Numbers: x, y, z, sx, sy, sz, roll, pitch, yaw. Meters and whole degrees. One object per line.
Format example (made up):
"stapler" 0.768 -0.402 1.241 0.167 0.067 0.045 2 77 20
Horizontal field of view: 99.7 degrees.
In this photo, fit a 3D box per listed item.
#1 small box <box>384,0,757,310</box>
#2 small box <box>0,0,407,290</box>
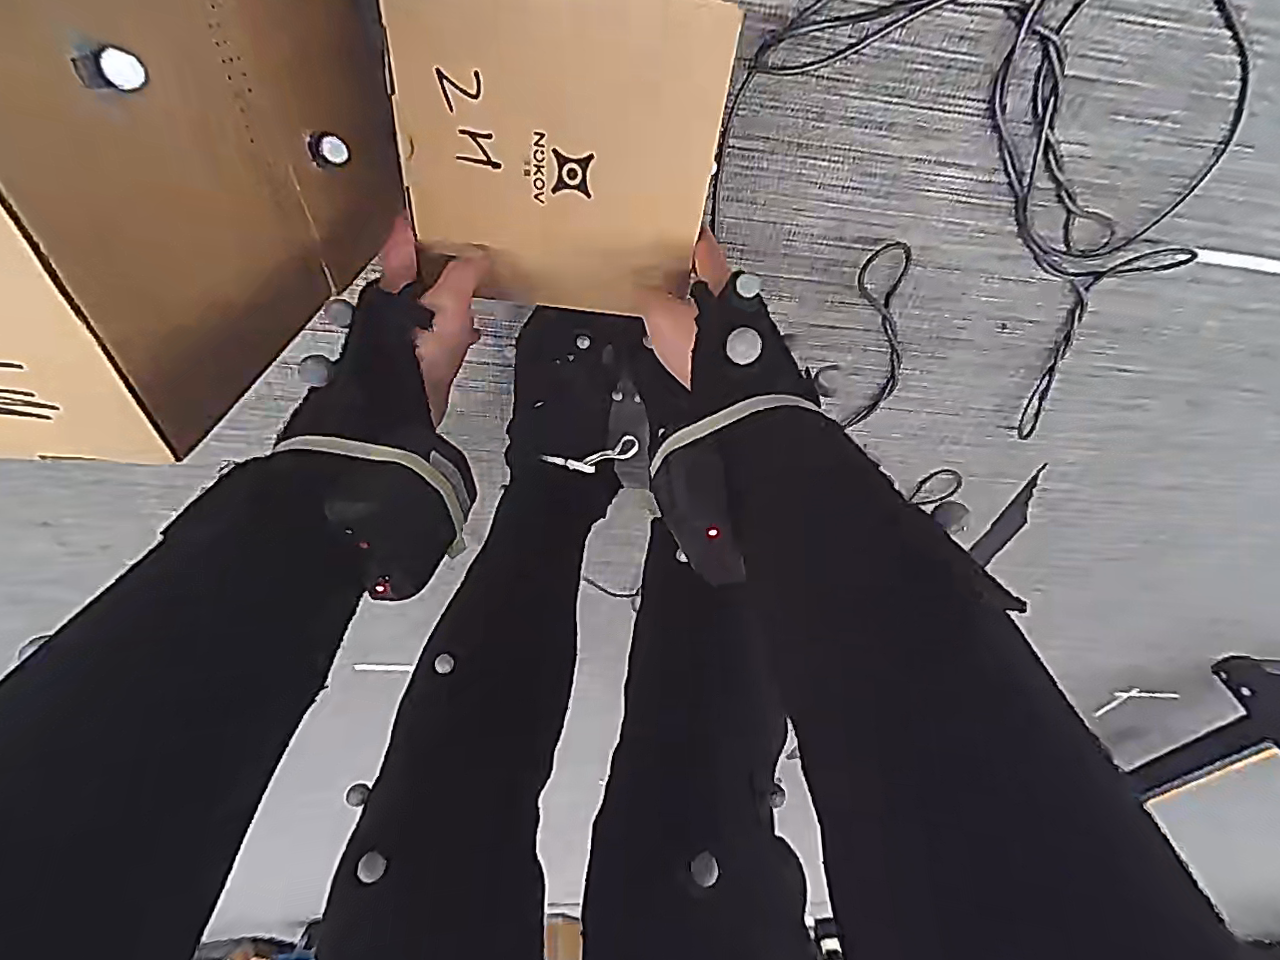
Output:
"small box" -0.042 -0.234 0.355 0.179 0.176 0.168 6 132 -5
"small box" -0.275 -0.241 0.349 0.168 0.176 0.179 0 134 -1
